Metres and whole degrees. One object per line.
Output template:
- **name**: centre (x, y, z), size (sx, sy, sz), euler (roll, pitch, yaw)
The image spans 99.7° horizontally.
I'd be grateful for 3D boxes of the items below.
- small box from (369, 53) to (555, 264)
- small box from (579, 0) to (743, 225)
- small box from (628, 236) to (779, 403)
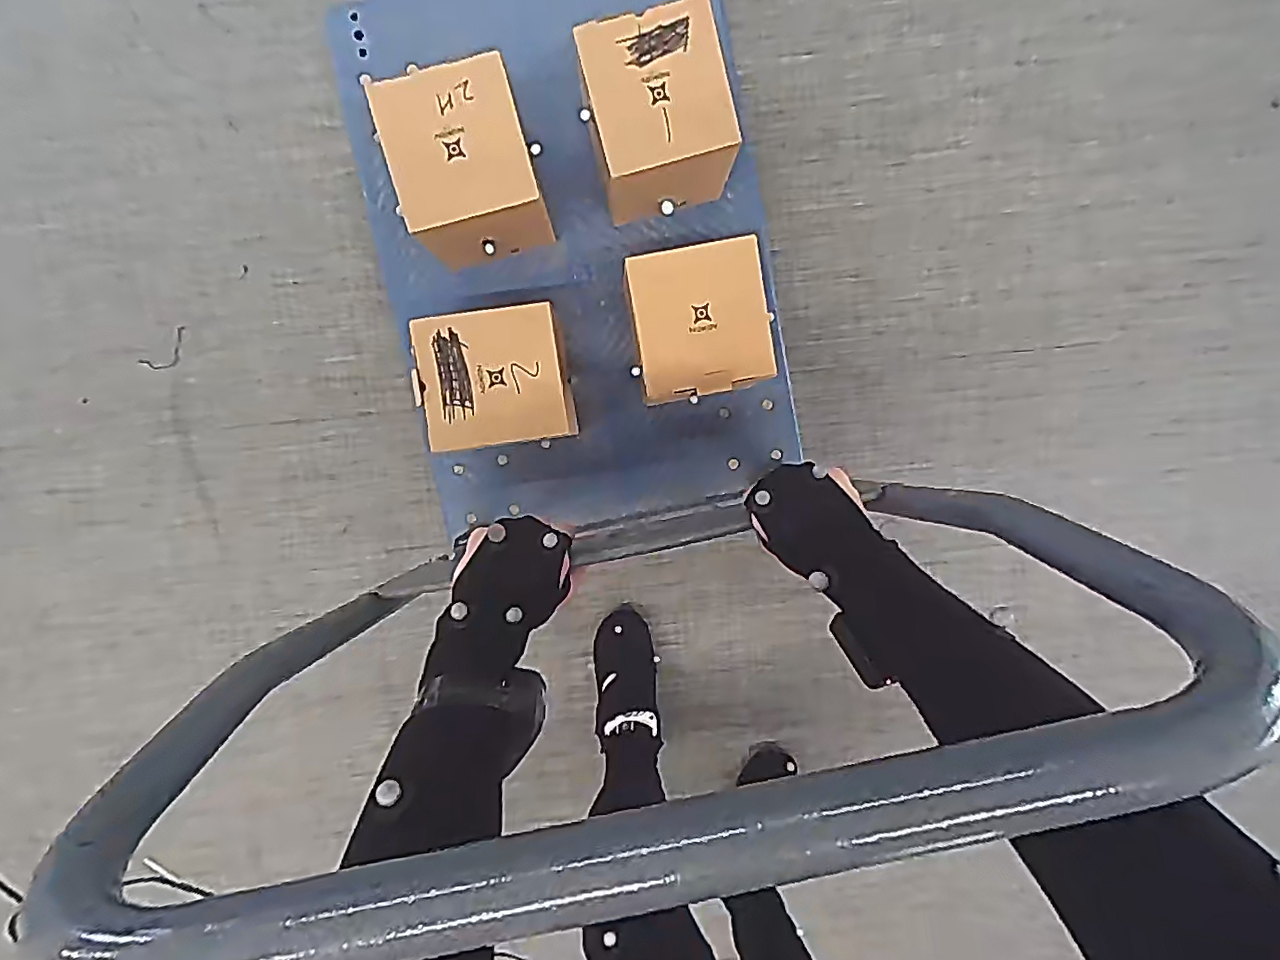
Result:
- **small box**: centre (-0.220, -0.404, 0.718), size (0.168, 0.176, 0.179), euler (-15, 96, -1)
- **small box**: centre (0.023, -0.471, 0.717), size (0.168, 0.176, 0.179), euler (-15, 97, 1)
- **small box**: centre (0.077, -0.208, 0.745), size (0.168, 0.176, 0.179), euler (-10, 96, 0)
